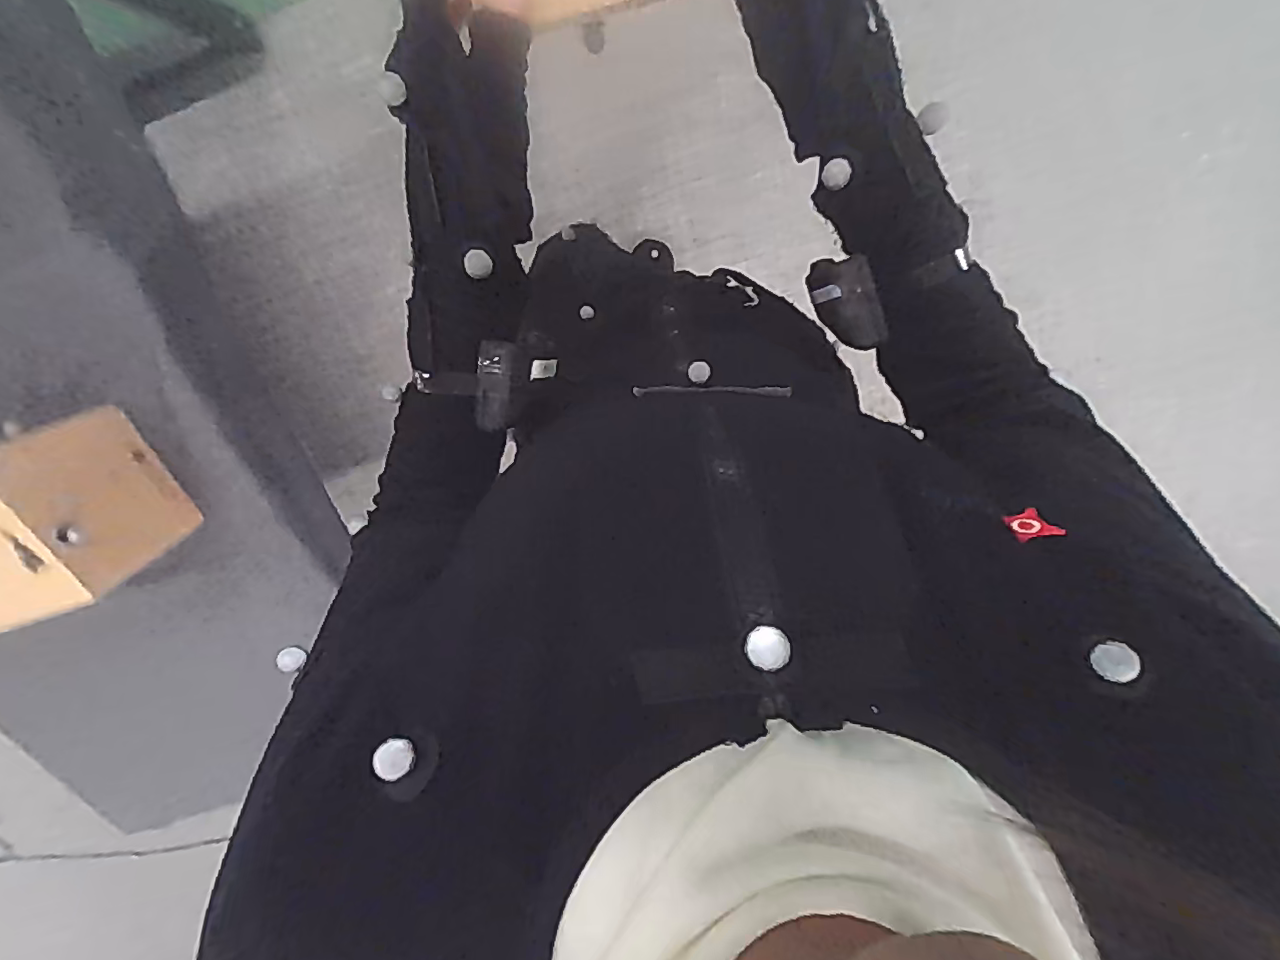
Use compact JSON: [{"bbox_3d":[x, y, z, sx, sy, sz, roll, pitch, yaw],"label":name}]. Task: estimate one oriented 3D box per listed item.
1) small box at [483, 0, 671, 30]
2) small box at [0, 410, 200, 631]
[{"bbox_3d":[-0.023,-0.357,0.272,0.168,0.176,0.179,-13,129,0],"label":"small box"},{"bbox_3d":[-0.656,0.042,0.594,0.179,0.176,0.168,-17,115,6],"label":"small box"}]
